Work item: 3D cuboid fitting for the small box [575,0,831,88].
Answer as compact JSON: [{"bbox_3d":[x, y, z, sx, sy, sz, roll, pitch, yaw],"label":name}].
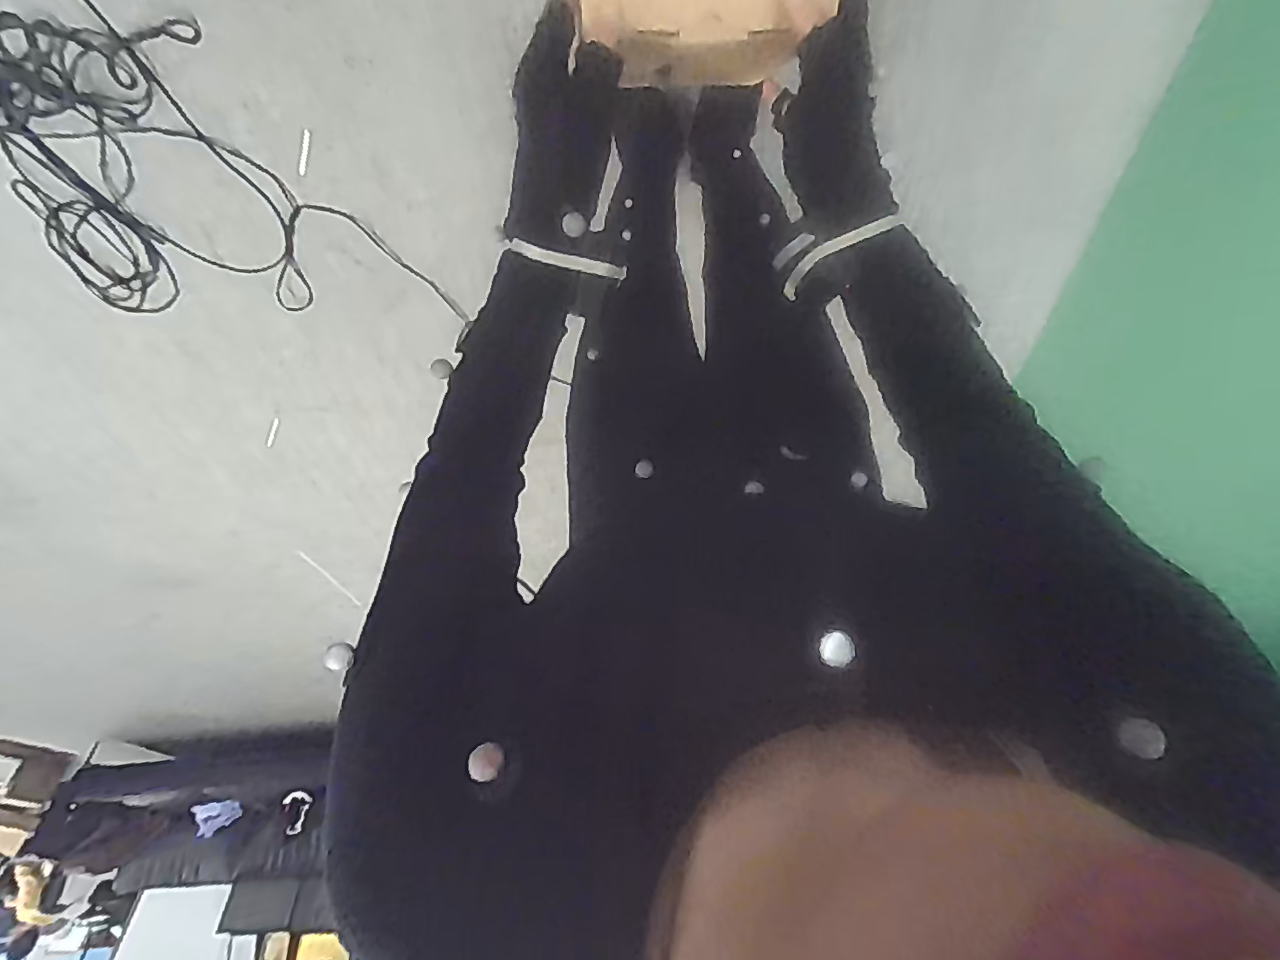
[{"bbox_3d":[0.034,-0.406,0.390,0.168,0.176,0.179,-5,118,-4],"label":"small box"}]
